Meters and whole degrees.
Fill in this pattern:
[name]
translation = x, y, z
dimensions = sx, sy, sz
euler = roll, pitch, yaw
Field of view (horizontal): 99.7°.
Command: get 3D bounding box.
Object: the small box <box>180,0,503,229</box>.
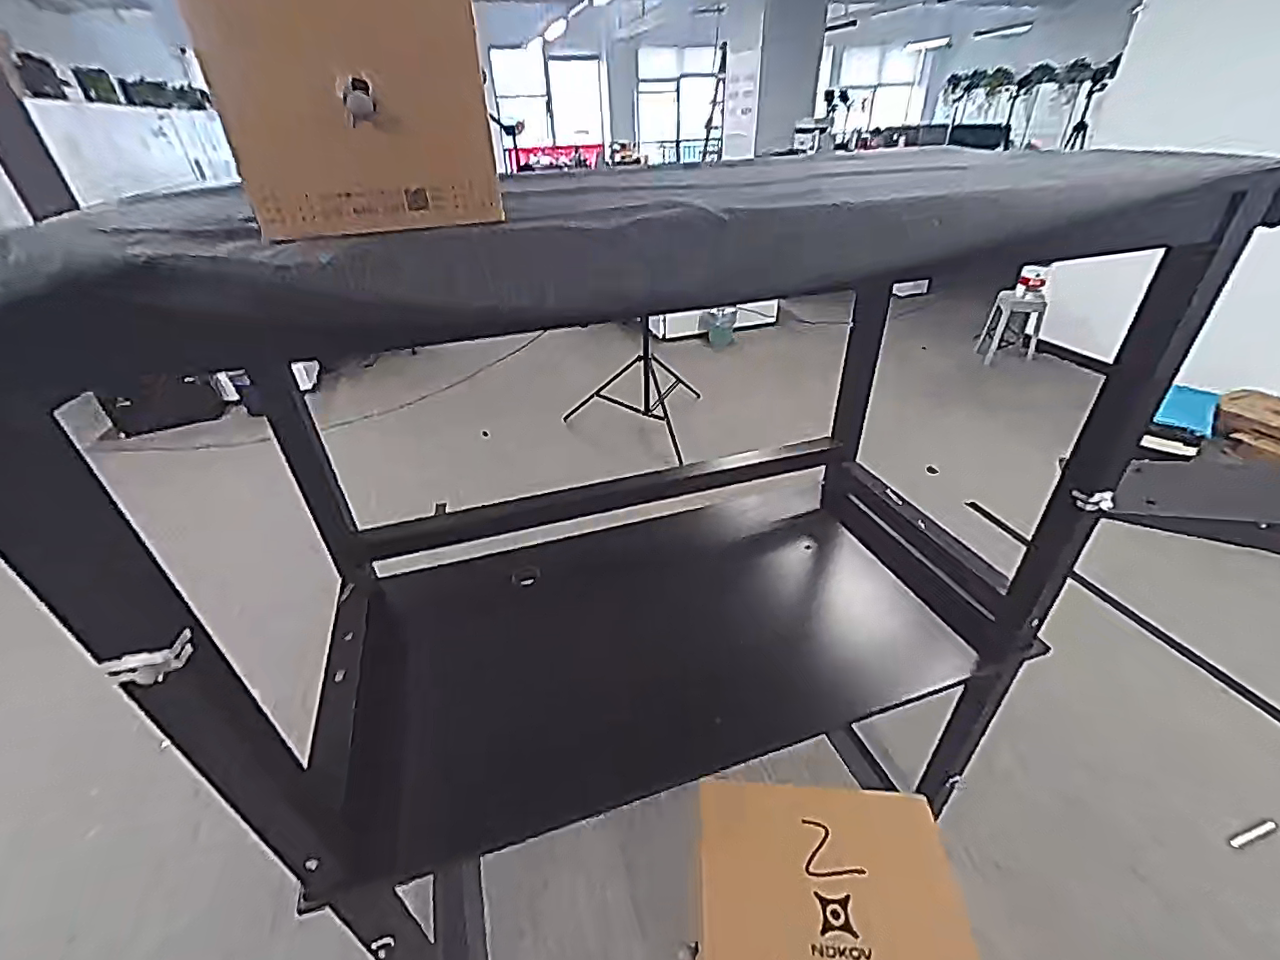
[small box]
translation = -0.210, -0.292, 0.410
dimensions = 0.168, 0.176, 0.179
euler = -13, 34, -18
